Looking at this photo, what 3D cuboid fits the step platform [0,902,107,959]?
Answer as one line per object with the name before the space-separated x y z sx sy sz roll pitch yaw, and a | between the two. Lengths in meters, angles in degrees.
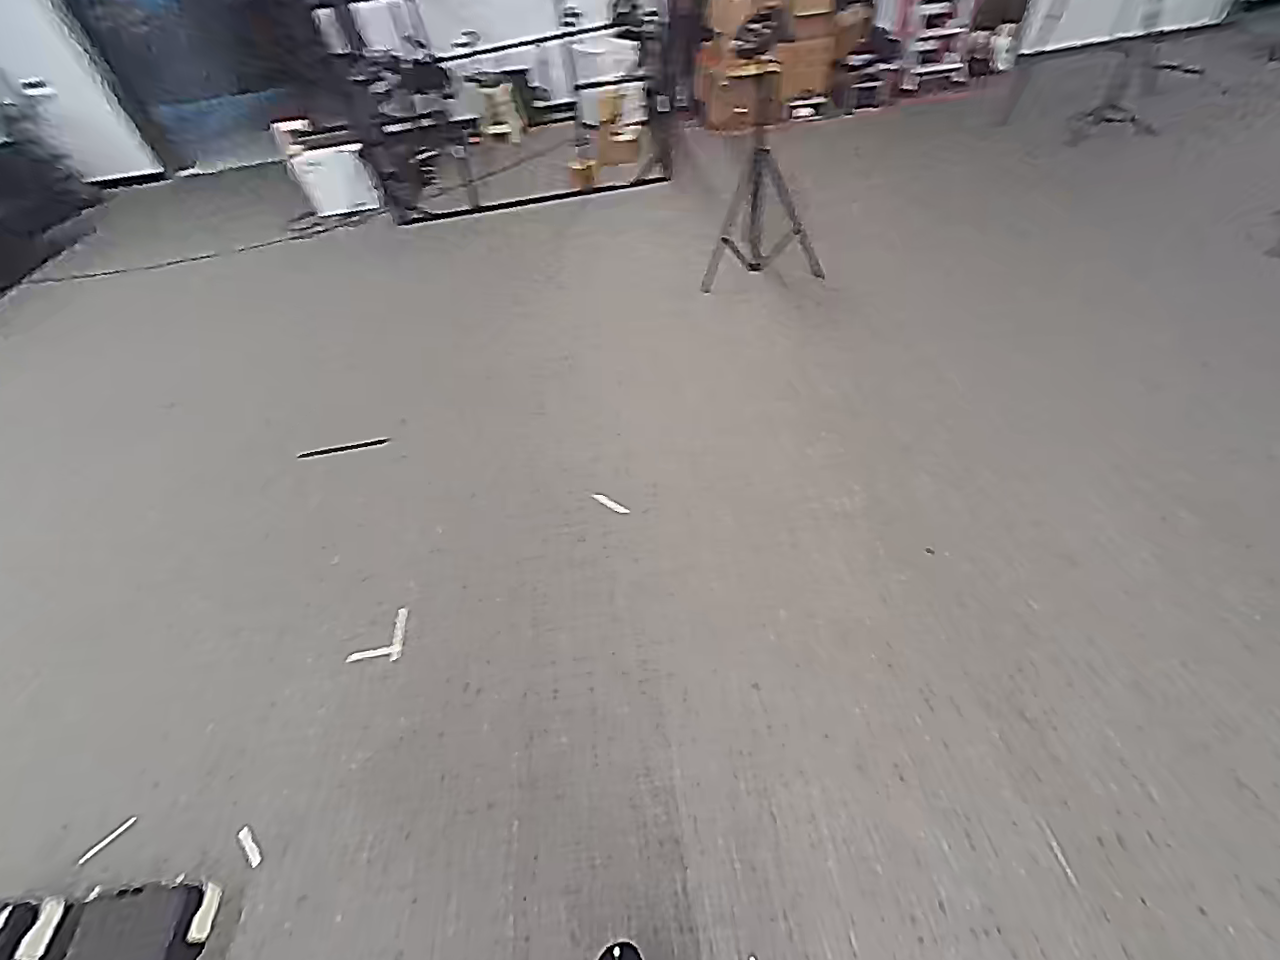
step platform | -1.337 1.192 0.970 0.286 0.204 0.684 -9 46 0
